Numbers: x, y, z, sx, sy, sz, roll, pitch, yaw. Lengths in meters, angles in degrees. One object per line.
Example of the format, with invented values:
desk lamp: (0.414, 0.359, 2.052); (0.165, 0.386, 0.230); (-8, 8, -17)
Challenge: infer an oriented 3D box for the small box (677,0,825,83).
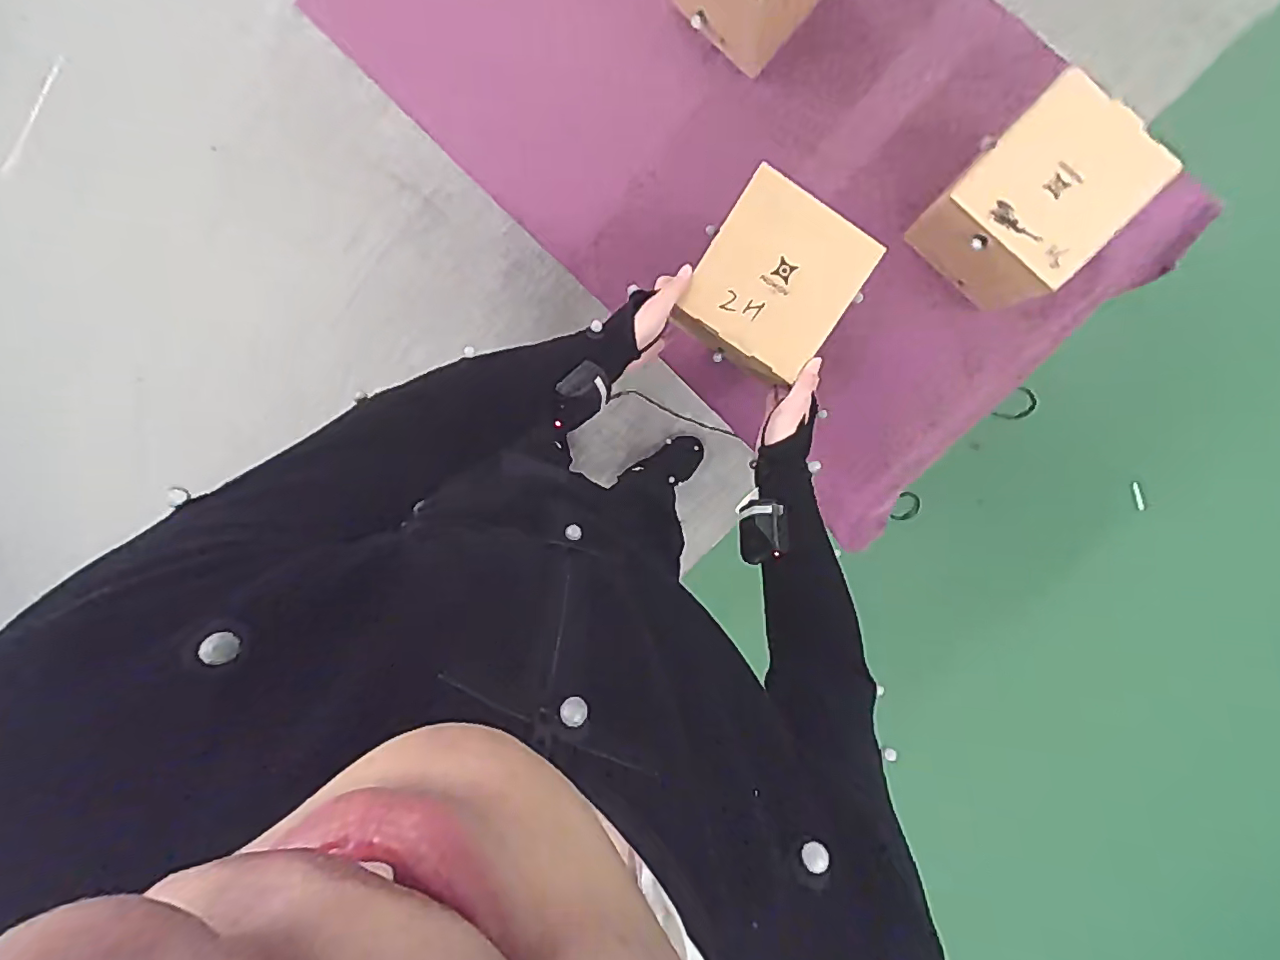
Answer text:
small box: (0.151, -0.674, 0.689); (0.168, 0.176, 0.179); (44, 102, 1)

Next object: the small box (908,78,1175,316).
small box: (0.483, -0.338, 0.687); (0.168, 0.176, 0.179); (43, 101, 1)

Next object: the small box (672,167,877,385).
small box: (0.148, -0.236, 0.673); (0.168, 0.176, 0.179); (32, 100, -4)
